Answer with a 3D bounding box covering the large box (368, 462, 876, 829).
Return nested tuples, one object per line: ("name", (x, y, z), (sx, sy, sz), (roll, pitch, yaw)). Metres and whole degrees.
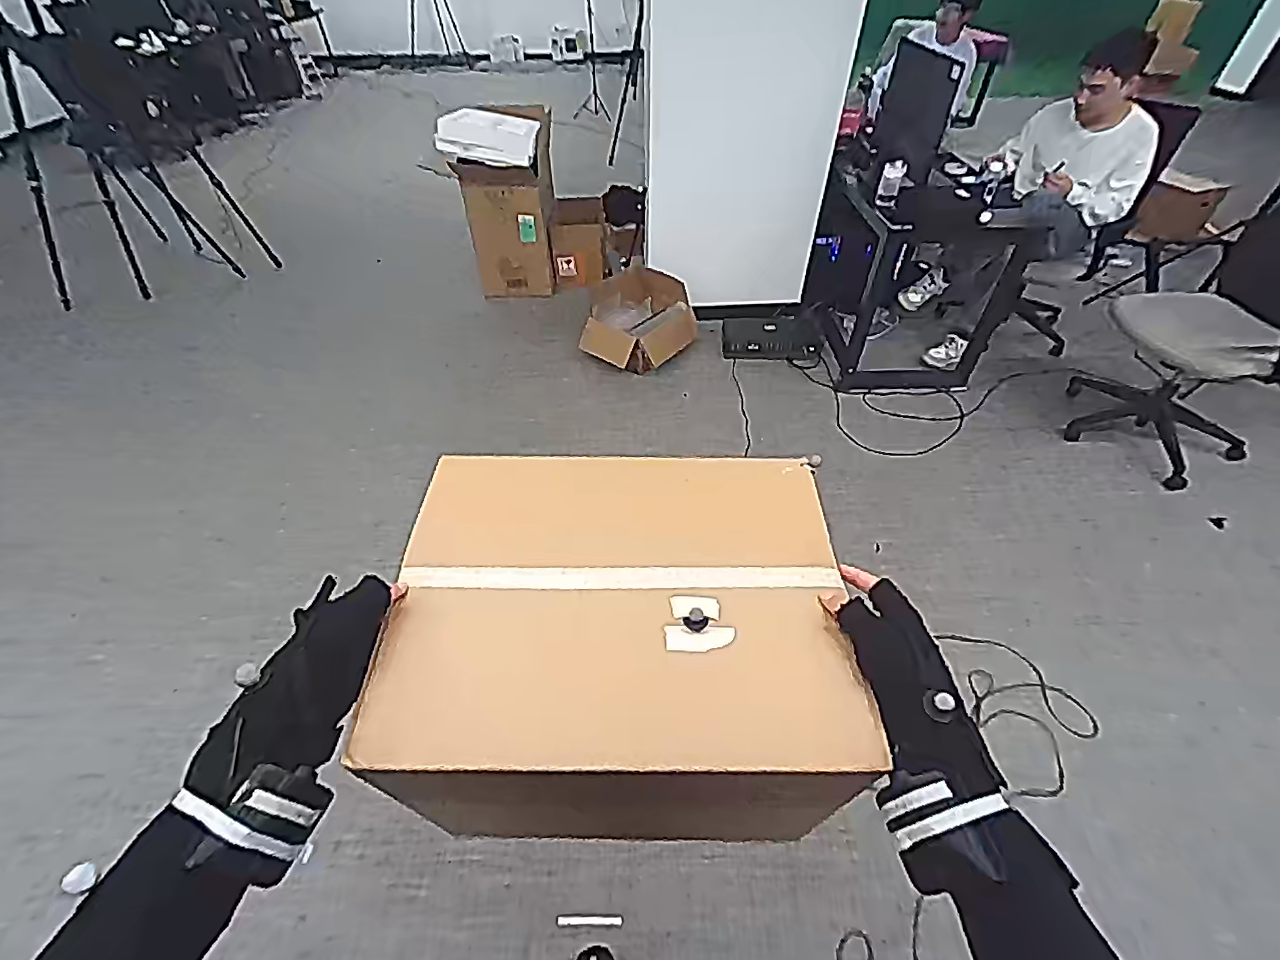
("large box", (-0.016, 0.194, 0.625), (0.408, 0.320, 0.320), (1, 49, 0))
